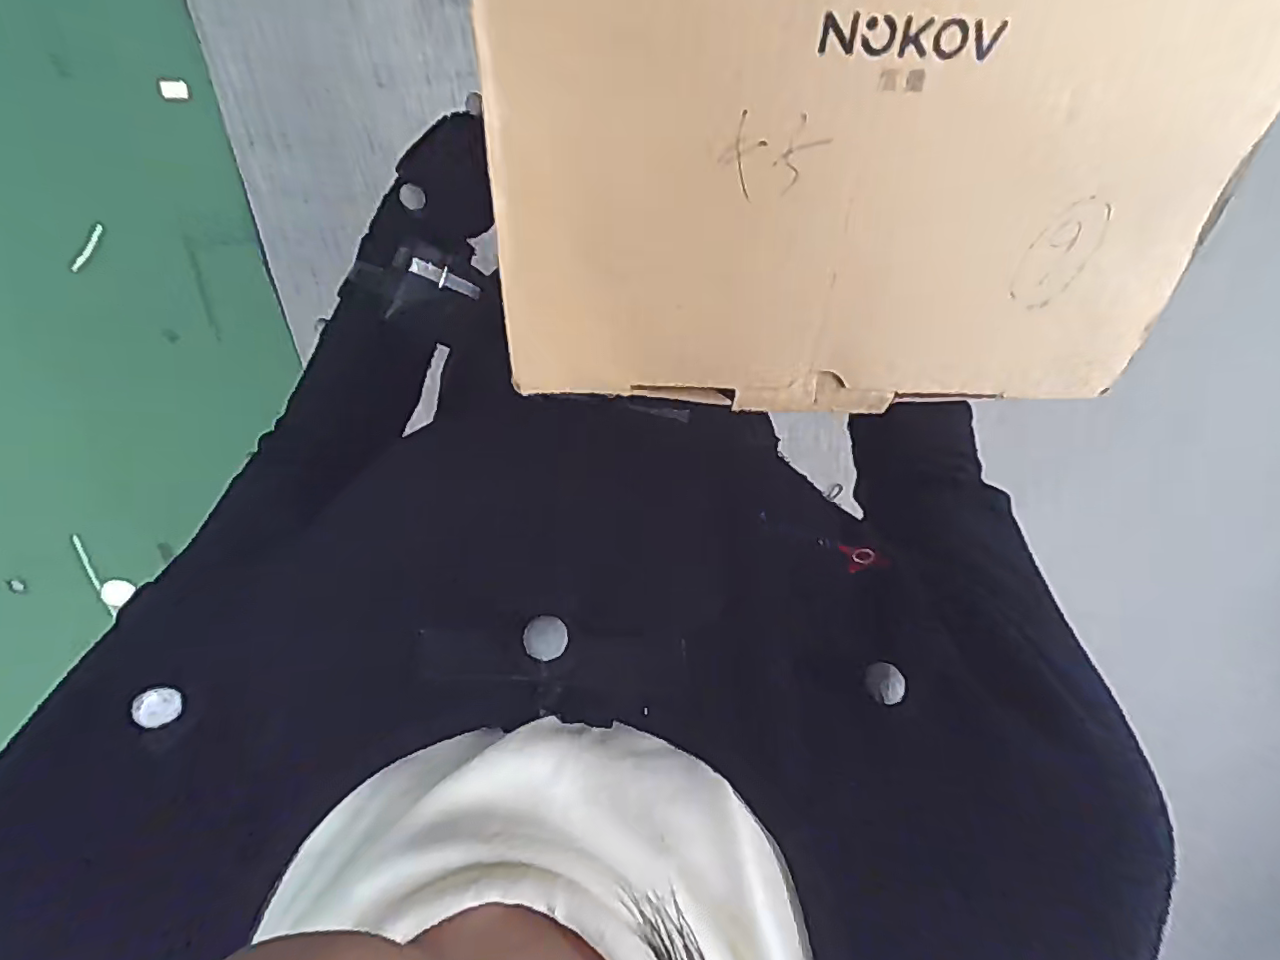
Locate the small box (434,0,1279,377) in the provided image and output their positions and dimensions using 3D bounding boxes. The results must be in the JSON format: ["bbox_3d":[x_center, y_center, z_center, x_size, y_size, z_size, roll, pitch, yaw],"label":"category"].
[{"bbox_3d":[0.041,-0.147,0.162,0.168,0.176,0.179,0,127,-3],"label":"small box"}]
